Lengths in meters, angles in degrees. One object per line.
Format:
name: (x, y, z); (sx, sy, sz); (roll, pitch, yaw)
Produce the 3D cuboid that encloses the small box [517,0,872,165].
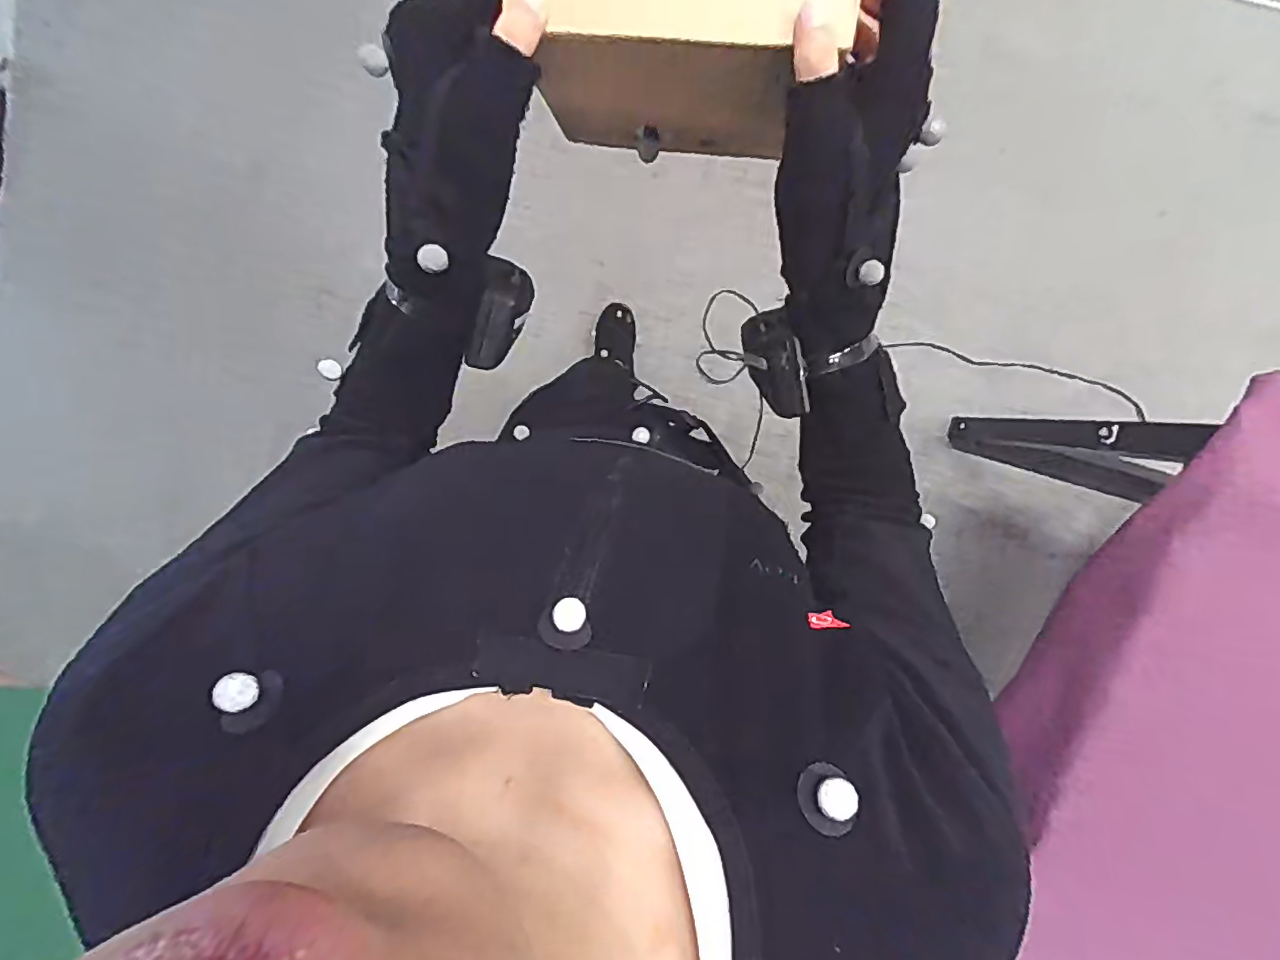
small box: (0.035, -0.306, 0.308); (0.168, 0.176, 0.179); (6, 106, 3)
